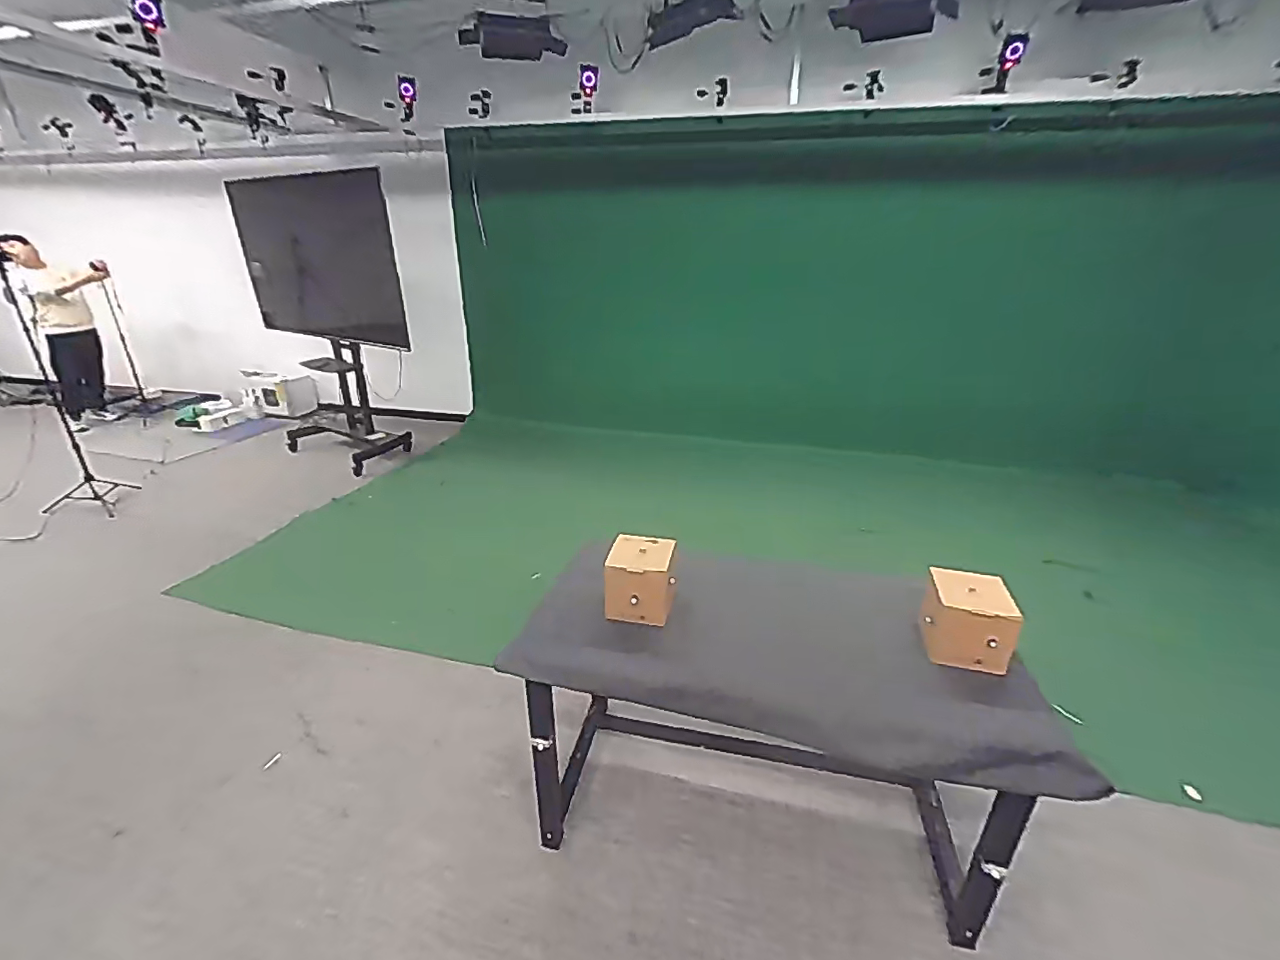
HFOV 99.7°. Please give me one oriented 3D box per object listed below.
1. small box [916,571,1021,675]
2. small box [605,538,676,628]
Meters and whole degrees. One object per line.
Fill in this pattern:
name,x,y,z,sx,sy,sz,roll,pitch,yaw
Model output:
small box,0.796,0.349,1.327,0.168,0.176,0.179,7,22,14
small box,0.006,0.281,1.481,0.168,0.176,0.179,6,23,10
